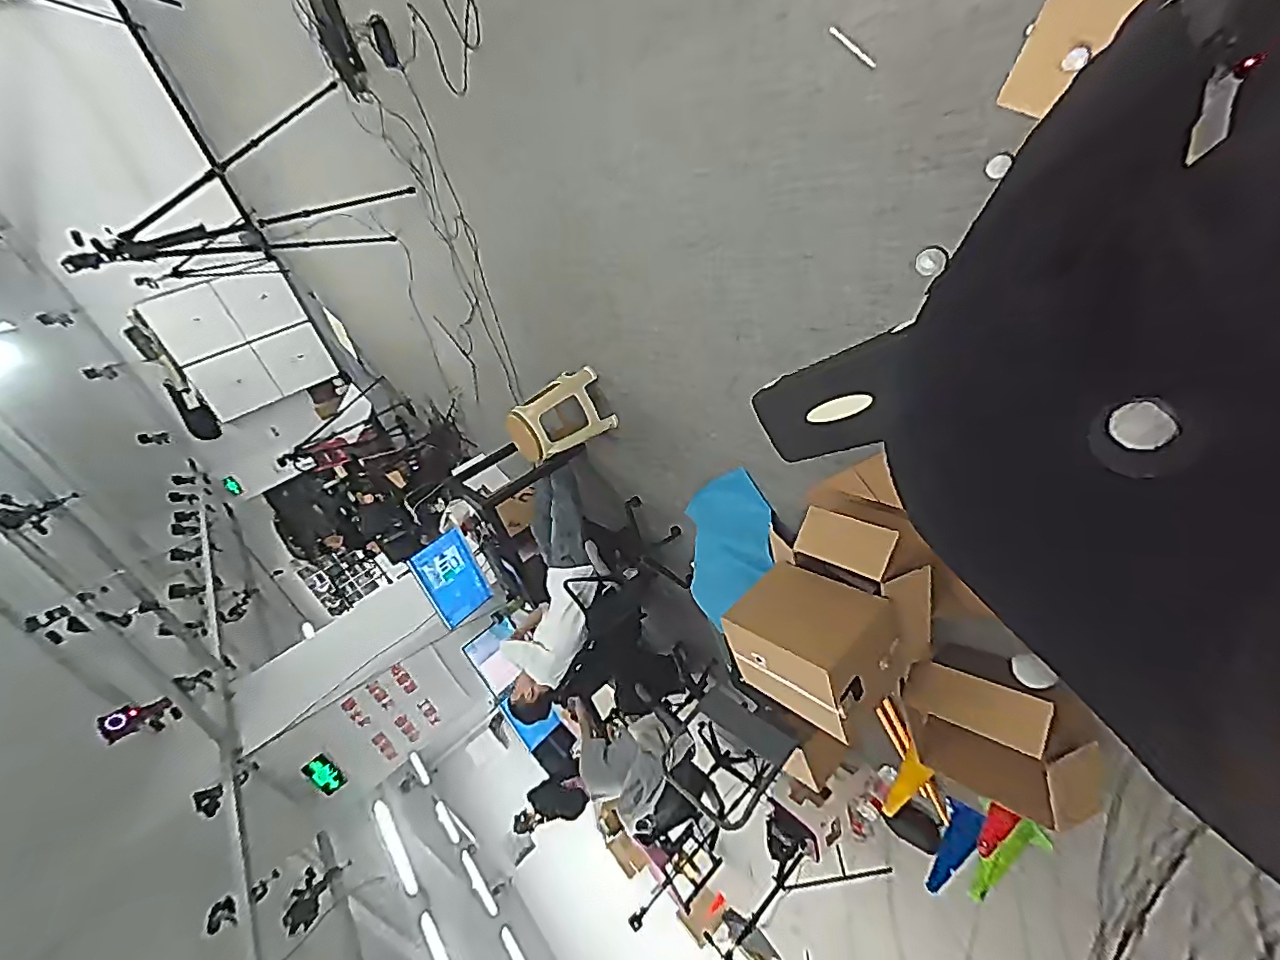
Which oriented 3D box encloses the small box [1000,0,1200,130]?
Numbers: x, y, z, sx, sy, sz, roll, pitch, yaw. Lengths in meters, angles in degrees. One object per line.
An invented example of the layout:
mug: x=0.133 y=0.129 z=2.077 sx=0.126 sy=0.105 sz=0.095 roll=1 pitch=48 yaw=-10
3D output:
small box: x=0.734 y=-0.699 z=0.863 sx=0.168 sy=0.176 sz=0.179 roll=41 pitch=150 yaw=25
